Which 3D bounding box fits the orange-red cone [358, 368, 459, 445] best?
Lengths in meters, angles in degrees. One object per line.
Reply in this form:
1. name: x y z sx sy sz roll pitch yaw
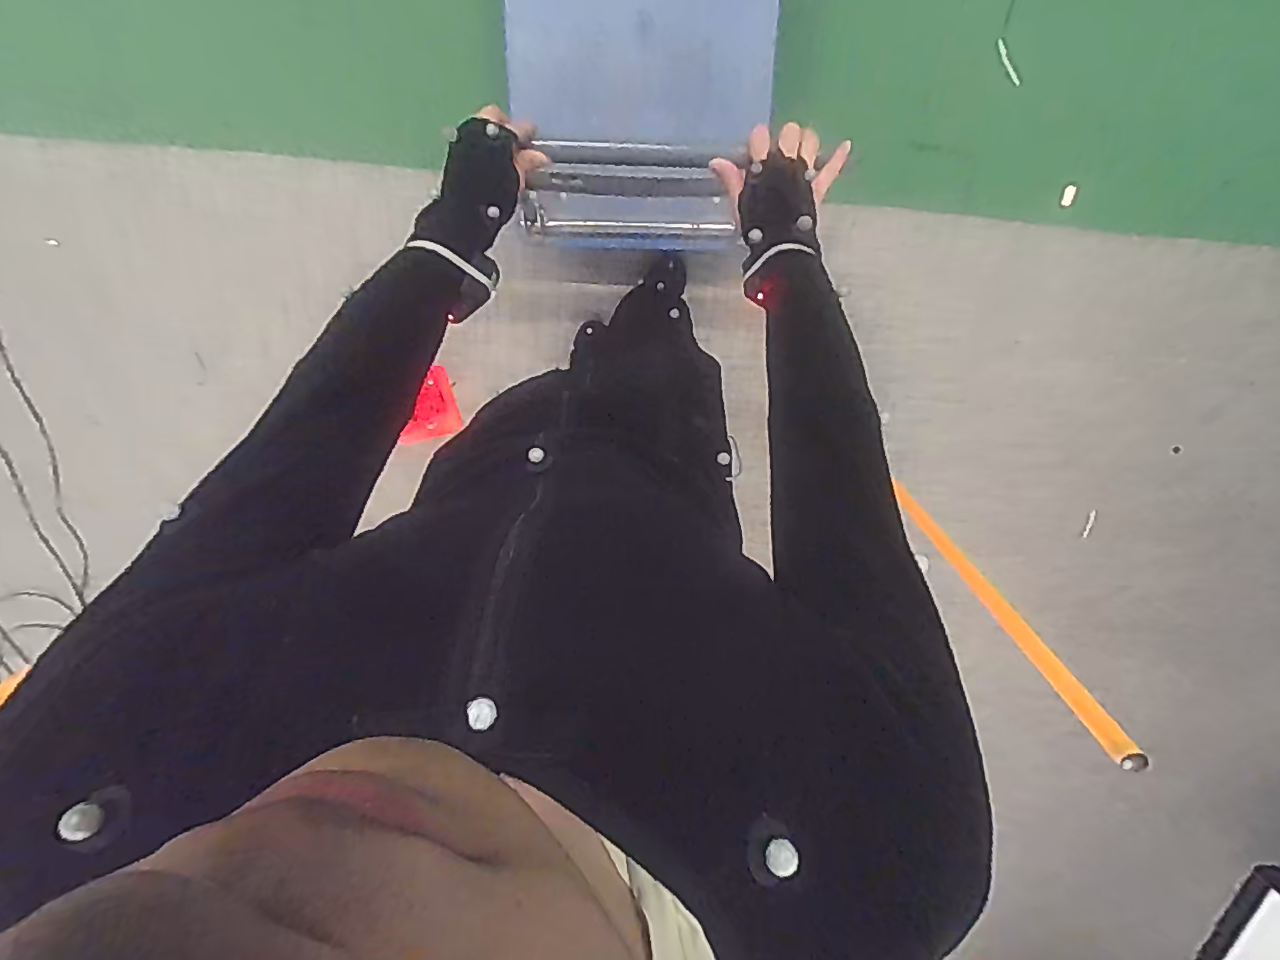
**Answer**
1. orange-red cone: -0.626 -0.154 1.386 0.199 0.360 0.198 -10 110 2
